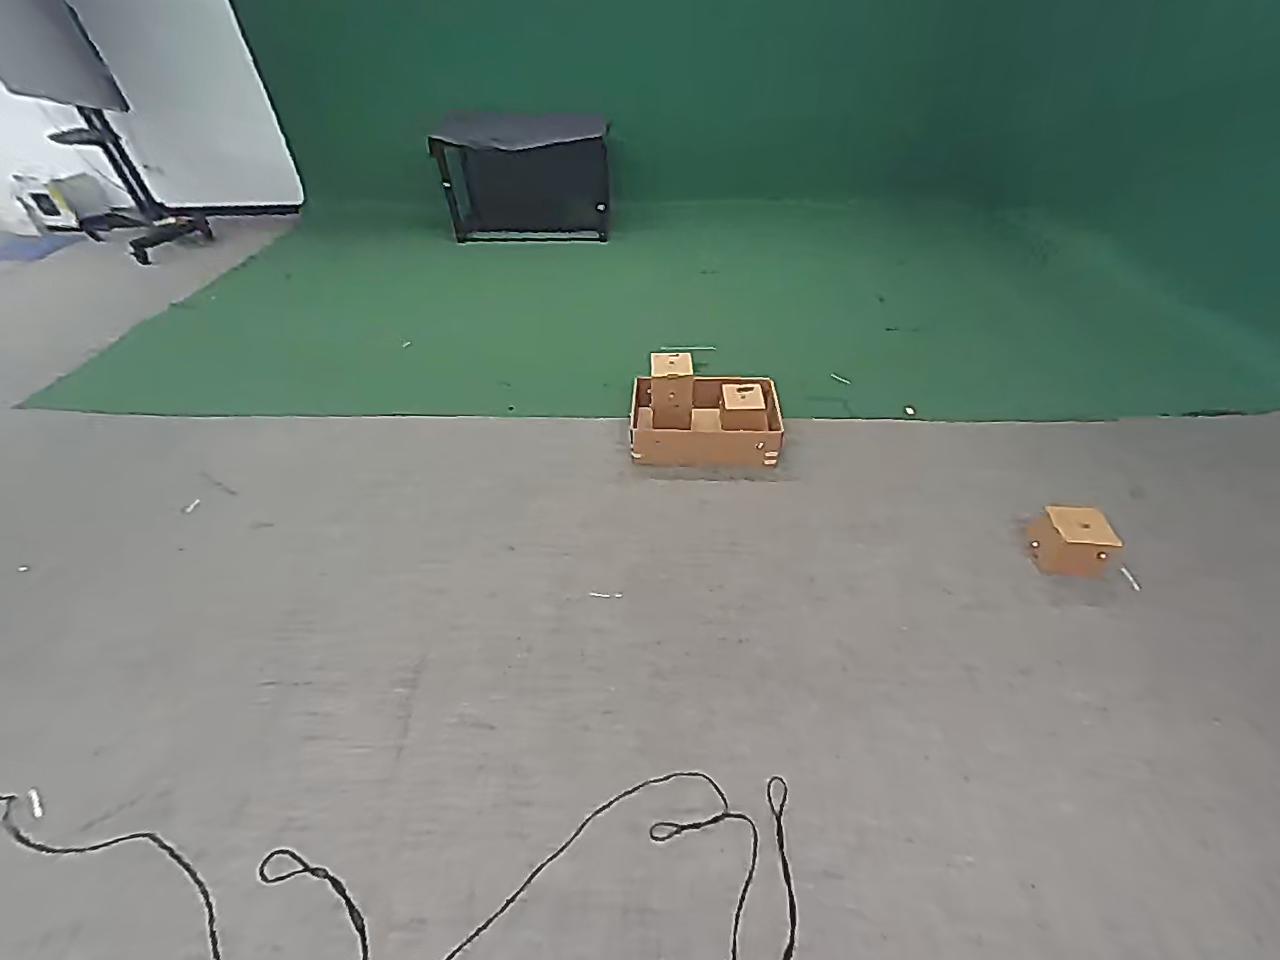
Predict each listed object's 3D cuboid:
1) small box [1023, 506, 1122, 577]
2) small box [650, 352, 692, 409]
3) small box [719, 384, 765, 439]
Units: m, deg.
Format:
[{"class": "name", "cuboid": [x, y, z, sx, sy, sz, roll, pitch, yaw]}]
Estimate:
[{"class": "small box", "cuboid": [1.449, 0.211, 1.825, 0.179, 0.176, 0.168, 4, 43, 7]}, {"class": "small box", "cuboid": [0.127, -0.403, 2.208, 0.168, 0.176, 0.179, -1, 45, 1]}, {"class": "small box", "cuboid": [0.433, -0.294, 2.320, 0.168, 0.176, 0.179, -1, 45, 2]}]
